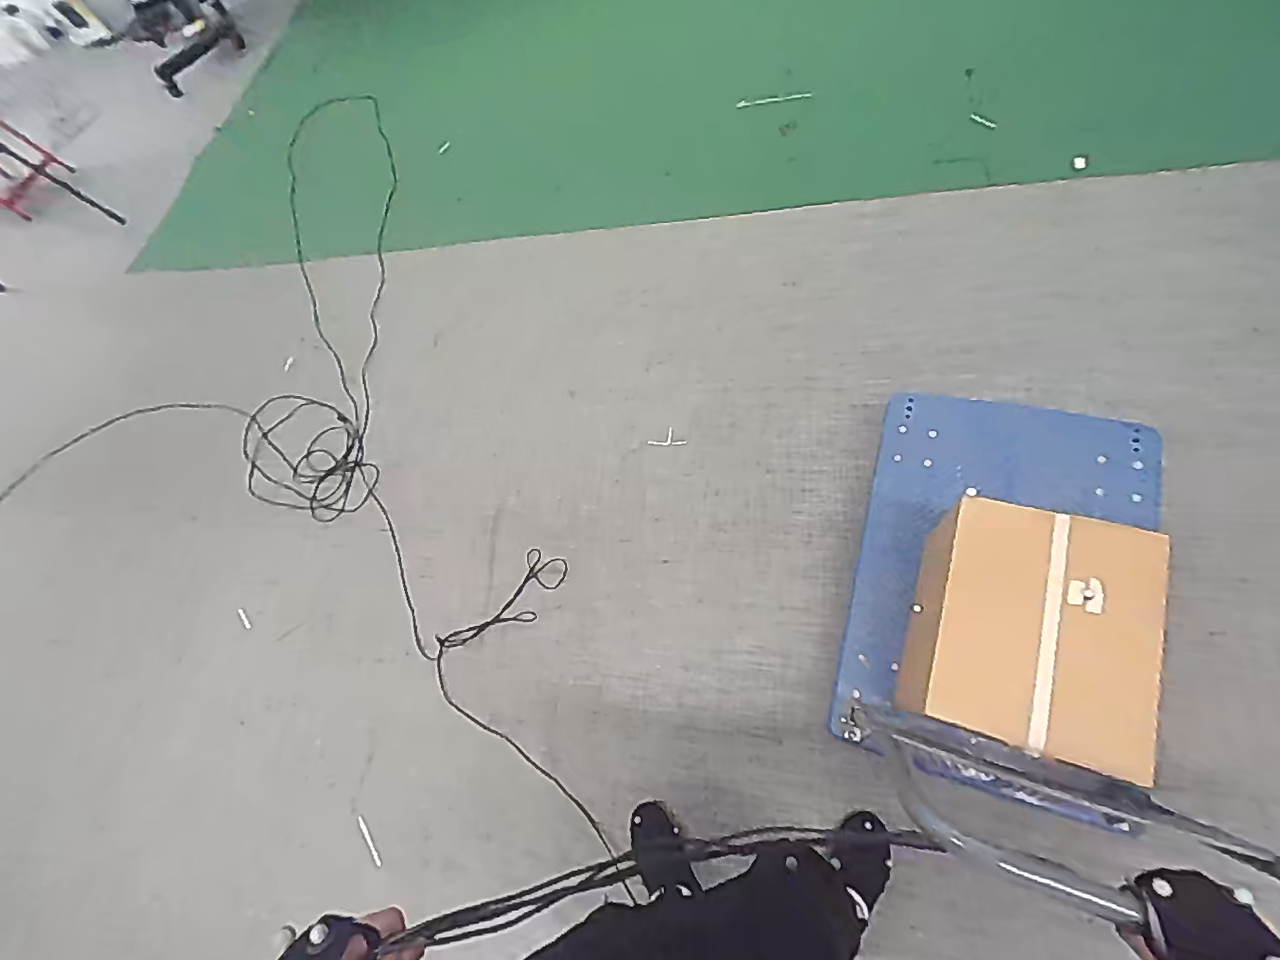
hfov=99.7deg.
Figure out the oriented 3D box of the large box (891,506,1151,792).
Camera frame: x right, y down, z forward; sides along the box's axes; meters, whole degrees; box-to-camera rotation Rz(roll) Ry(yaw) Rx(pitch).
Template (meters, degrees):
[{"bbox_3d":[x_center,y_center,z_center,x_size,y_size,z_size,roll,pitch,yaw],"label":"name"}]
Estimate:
[{"bbox_3d":[0.707,0.317,1.051,0.320,0.320,0.408,15,73,19],"label":"large box"}]
